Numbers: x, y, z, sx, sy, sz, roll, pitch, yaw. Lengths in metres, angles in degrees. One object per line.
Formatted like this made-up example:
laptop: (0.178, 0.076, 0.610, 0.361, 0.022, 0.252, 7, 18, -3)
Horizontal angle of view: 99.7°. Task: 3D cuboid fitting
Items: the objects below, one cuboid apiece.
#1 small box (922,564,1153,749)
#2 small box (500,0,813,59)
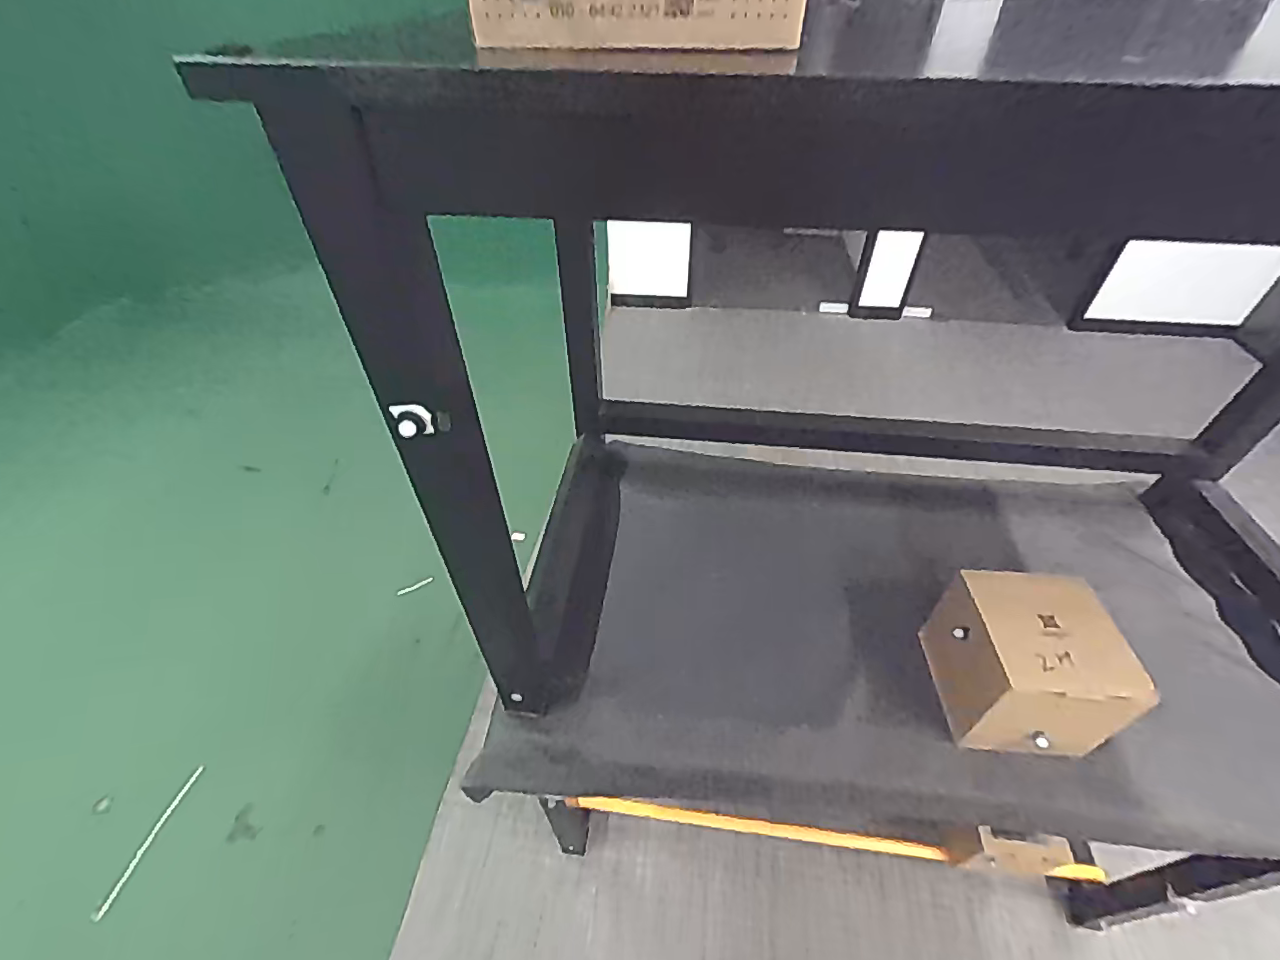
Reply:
small box: (0.516, 0.239, 0.740, 0.168, 0.176, 0.179, 3, 43, 4)
small box: (0.010, -0.338, 0.288, 0.168, 0.176, 0.179, 2, 43, 1)
